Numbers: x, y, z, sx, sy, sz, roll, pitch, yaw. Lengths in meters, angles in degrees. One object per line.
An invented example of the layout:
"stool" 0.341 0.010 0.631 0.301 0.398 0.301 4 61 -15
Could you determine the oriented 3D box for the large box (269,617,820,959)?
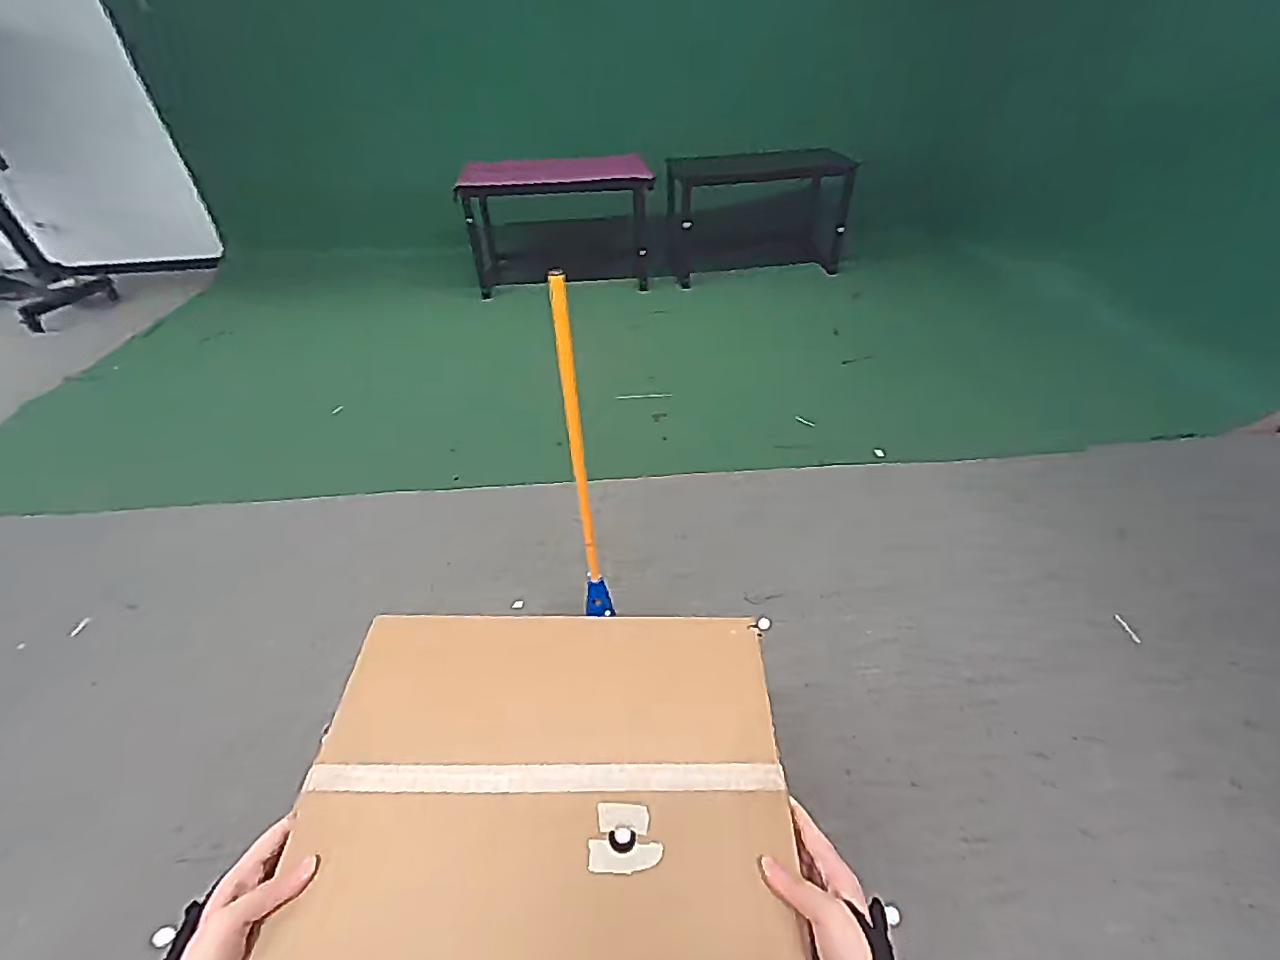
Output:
"large box" -0.074 0.363 0.582 0.408 0.320 0.320 1 46 -1
